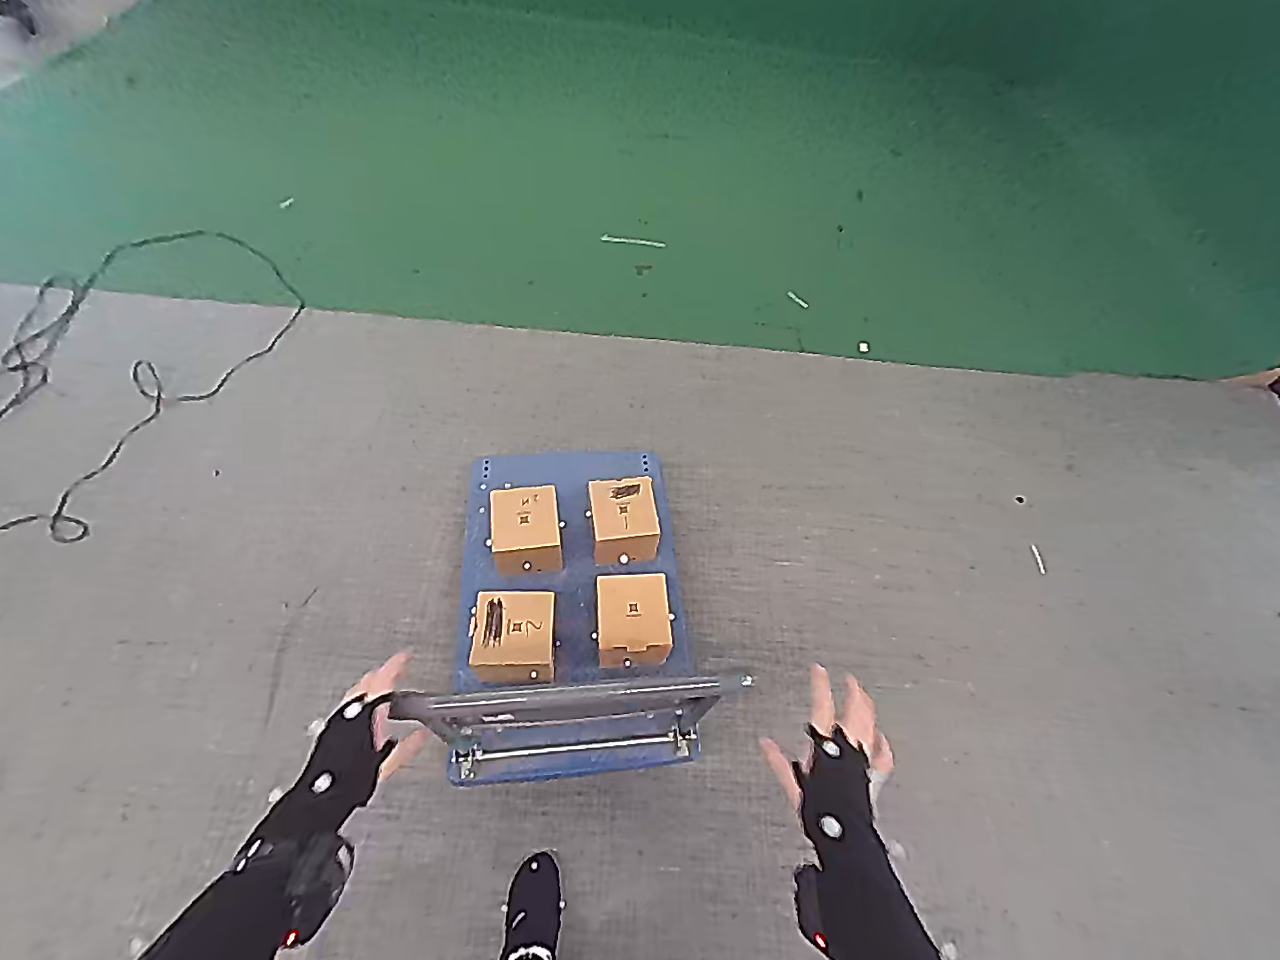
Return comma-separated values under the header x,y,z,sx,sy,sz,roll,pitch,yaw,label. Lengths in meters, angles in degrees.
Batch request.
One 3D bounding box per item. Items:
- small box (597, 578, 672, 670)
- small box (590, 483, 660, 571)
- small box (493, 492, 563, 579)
x,y,z,sx,sy,sz,roll,pitch,yaw,label
-0.021,0.357,1.333,0.168,0.176,0.179,-1,58,-7,small box
-0.048,0.129,1.476,0.168,0.176,0.179,-5,59,-8,small box
-0.295,0.153,1.436,0.168,0.176,0.179,-5,58,-10,small box
